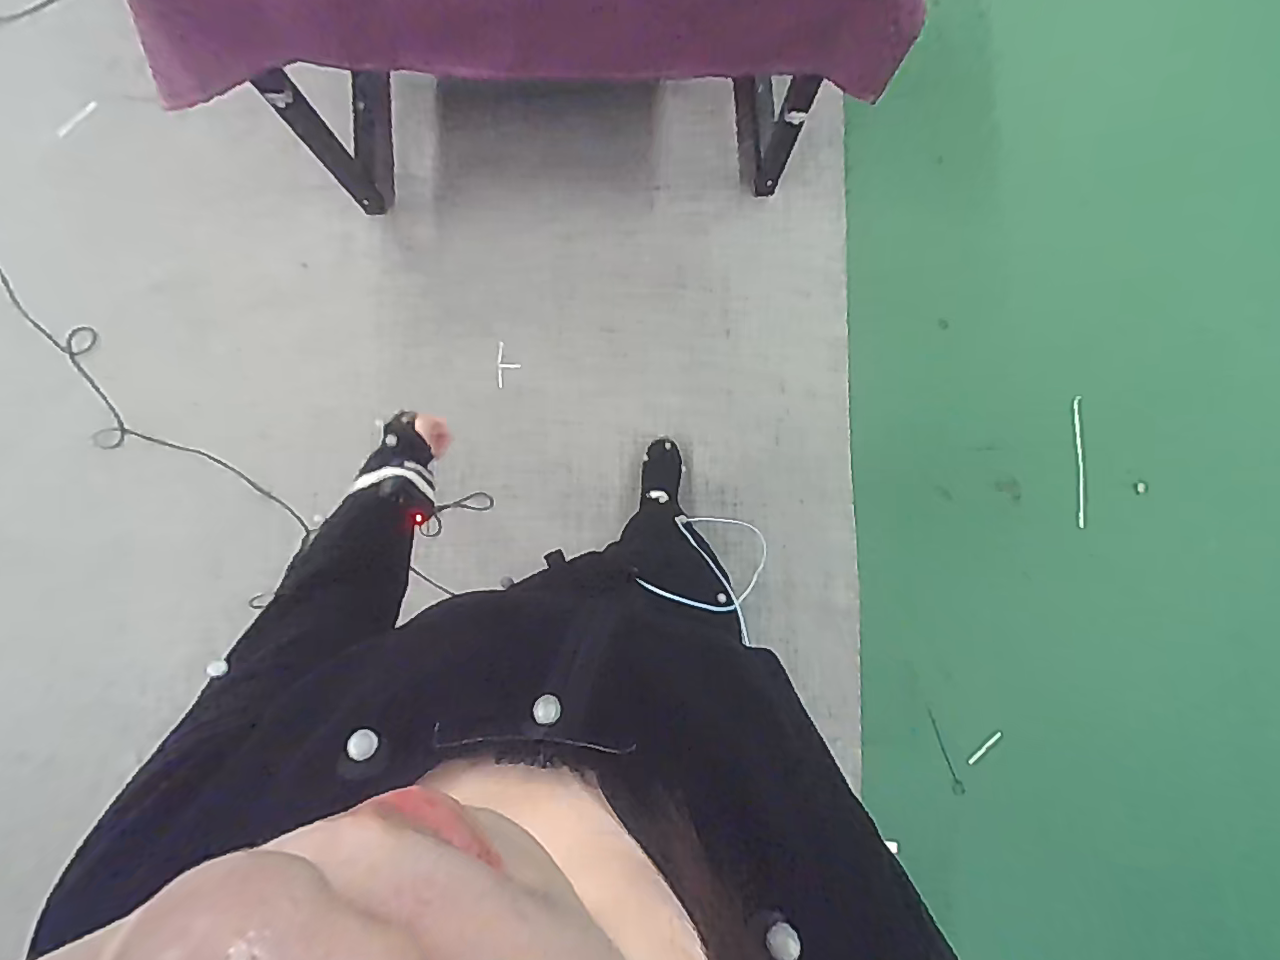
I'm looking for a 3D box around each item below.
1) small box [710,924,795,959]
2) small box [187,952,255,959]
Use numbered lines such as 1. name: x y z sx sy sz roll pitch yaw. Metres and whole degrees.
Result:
1. small box: 0.228 1.037 1.066 0.168 0.176 0.179 10 86 -2
2. small box: -0.763 0.930 0.891 0.168 0.176 0.179 -10 86 -3
